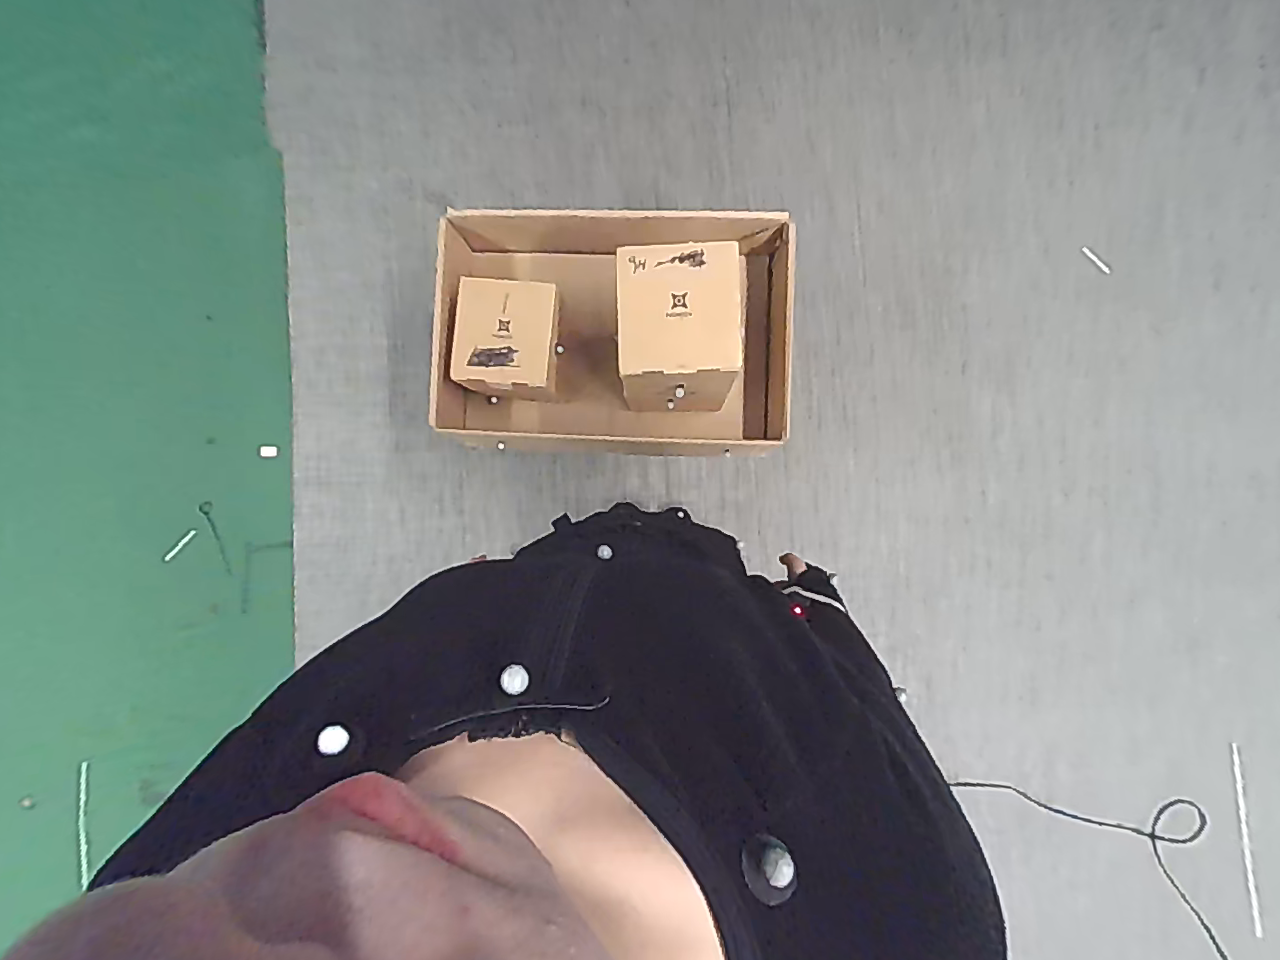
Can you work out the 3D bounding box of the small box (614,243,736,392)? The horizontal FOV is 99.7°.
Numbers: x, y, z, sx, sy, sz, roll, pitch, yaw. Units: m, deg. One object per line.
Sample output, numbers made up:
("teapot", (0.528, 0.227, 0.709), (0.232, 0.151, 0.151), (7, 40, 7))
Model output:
("small box", (0.052, -0.227, 0.802), (0.168, 0.176, 0.179), (-1, 89, 3))
